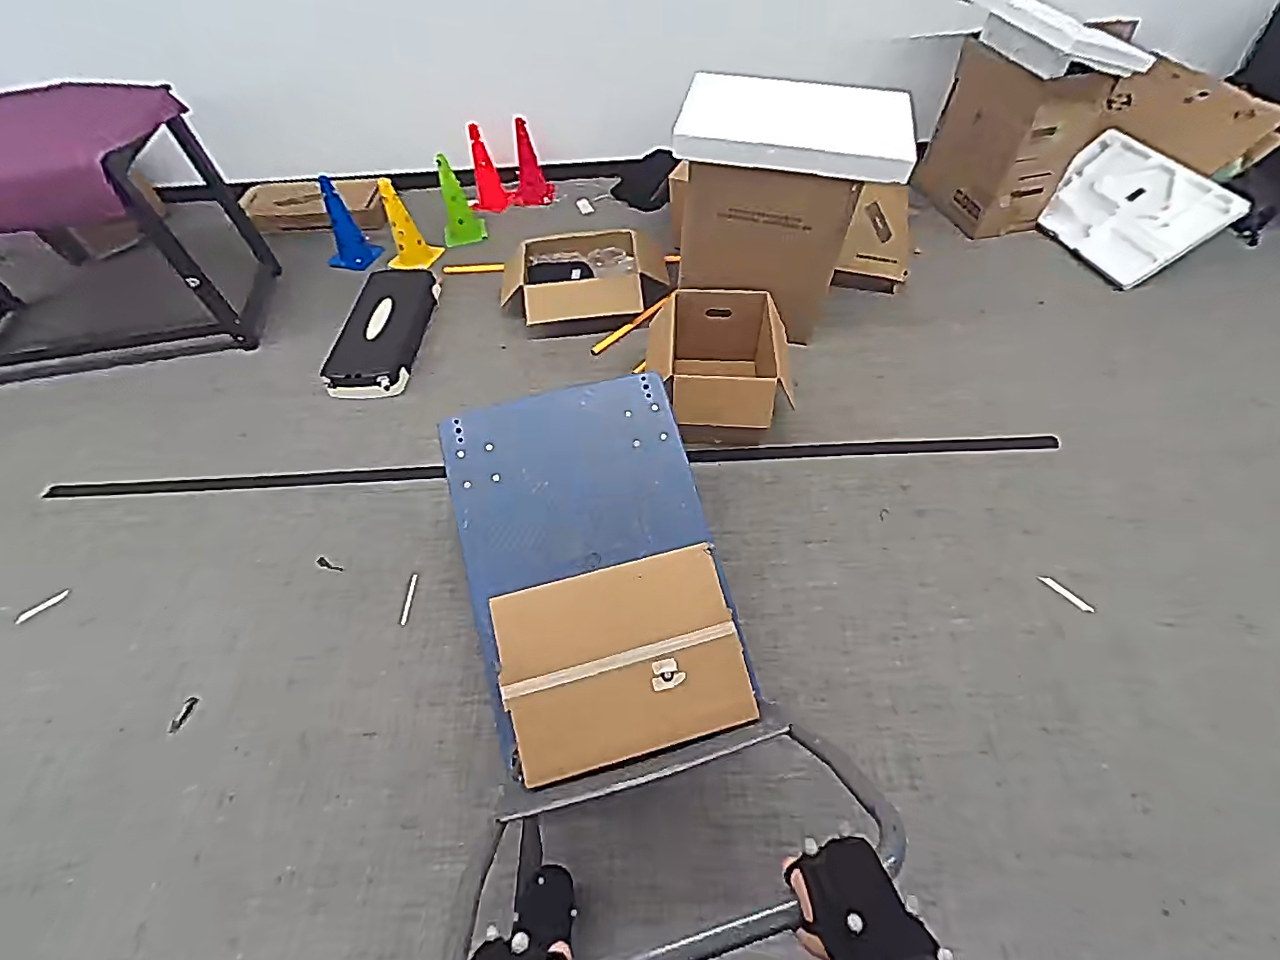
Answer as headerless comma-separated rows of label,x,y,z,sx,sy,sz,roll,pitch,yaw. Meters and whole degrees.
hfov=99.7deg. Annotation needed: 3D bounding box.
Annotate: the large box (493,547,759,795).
large box,-0.037,0.354,1.069,0.408,0.320,0.320,-14,77,-8
